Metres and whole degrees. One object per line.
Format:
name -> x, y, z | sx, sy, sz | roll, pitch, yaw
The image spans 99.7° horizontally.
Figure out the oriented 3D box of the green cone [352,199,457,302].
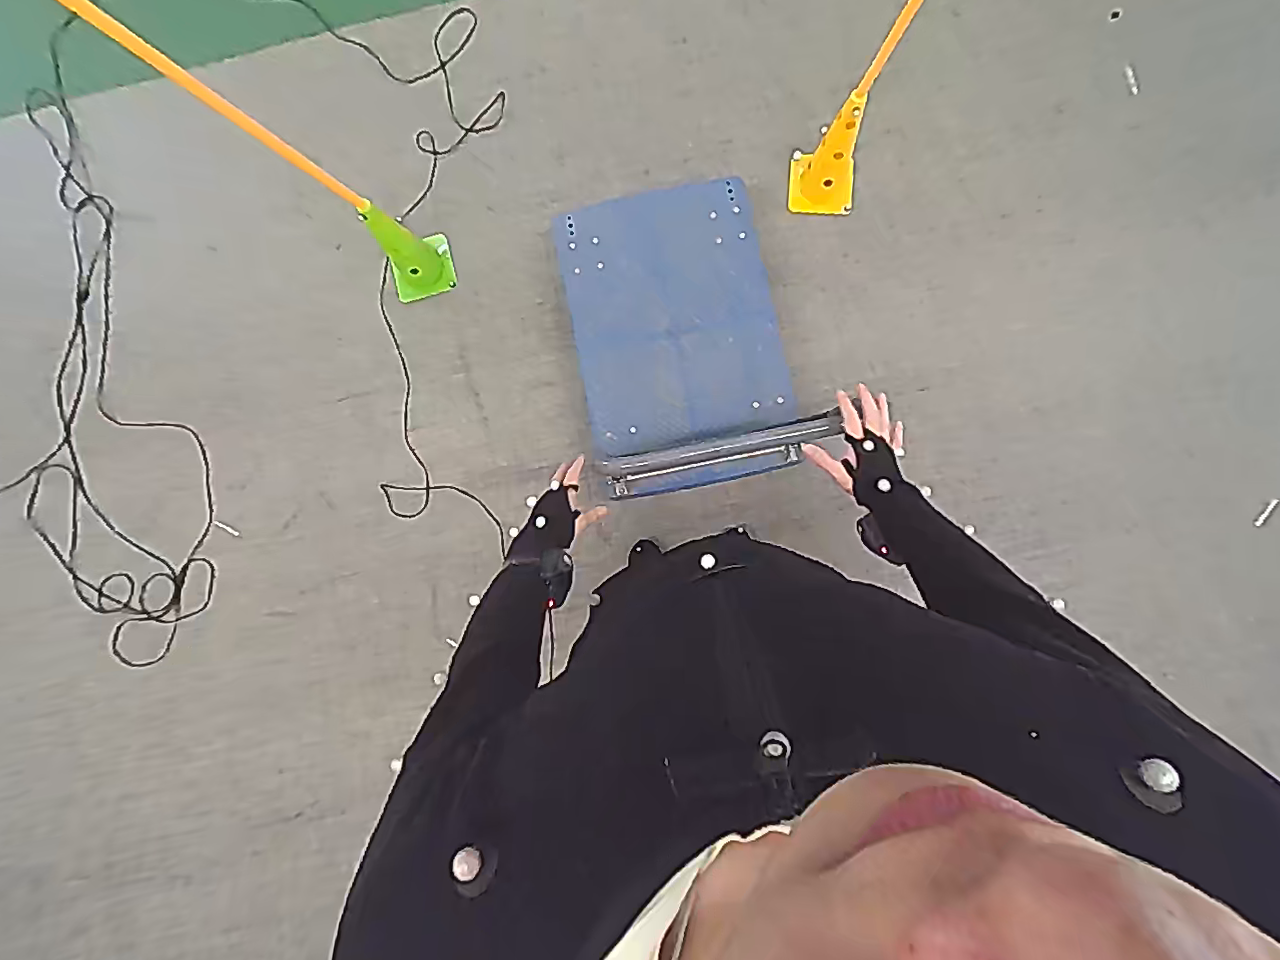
green cone -> -0.729, -0.720, 1.616 | 0.202, 0.368, 0.200 | -16, 83, 3
